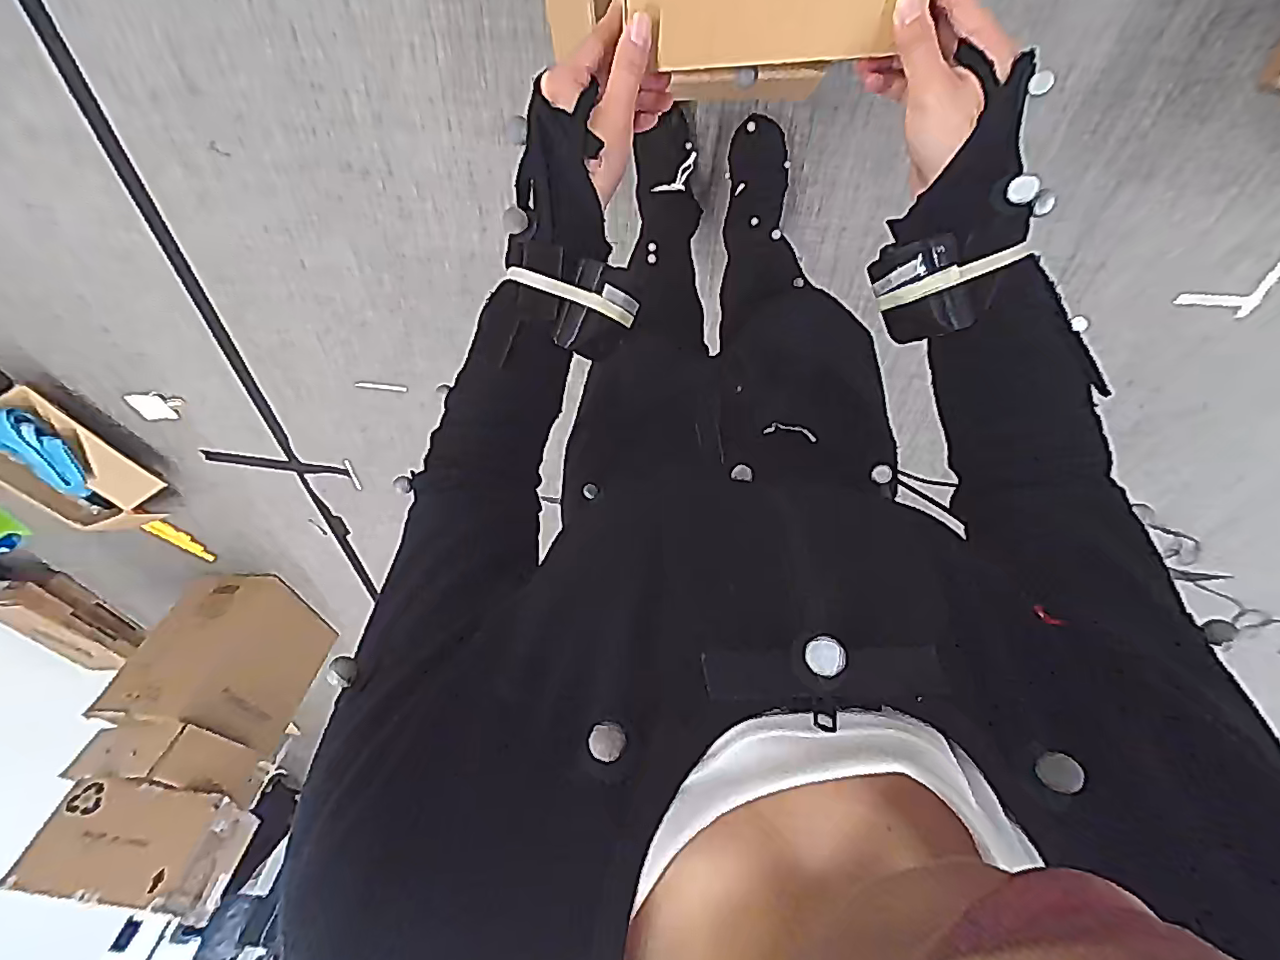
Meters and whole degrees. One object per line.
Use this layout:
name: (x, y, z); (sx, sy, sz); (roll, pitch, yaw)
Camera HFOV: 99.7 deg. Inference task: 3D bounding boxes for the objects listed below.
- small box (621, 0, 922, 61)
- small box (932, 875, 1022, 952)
small box: (0.073, -0.372, 0.325); (0.179, 0.176, 0.168); (-1, 135, 3)
small box: (1.082, 1.406, 1.756); (0.168, 0.176, 0.179); (11, 135, 0)
